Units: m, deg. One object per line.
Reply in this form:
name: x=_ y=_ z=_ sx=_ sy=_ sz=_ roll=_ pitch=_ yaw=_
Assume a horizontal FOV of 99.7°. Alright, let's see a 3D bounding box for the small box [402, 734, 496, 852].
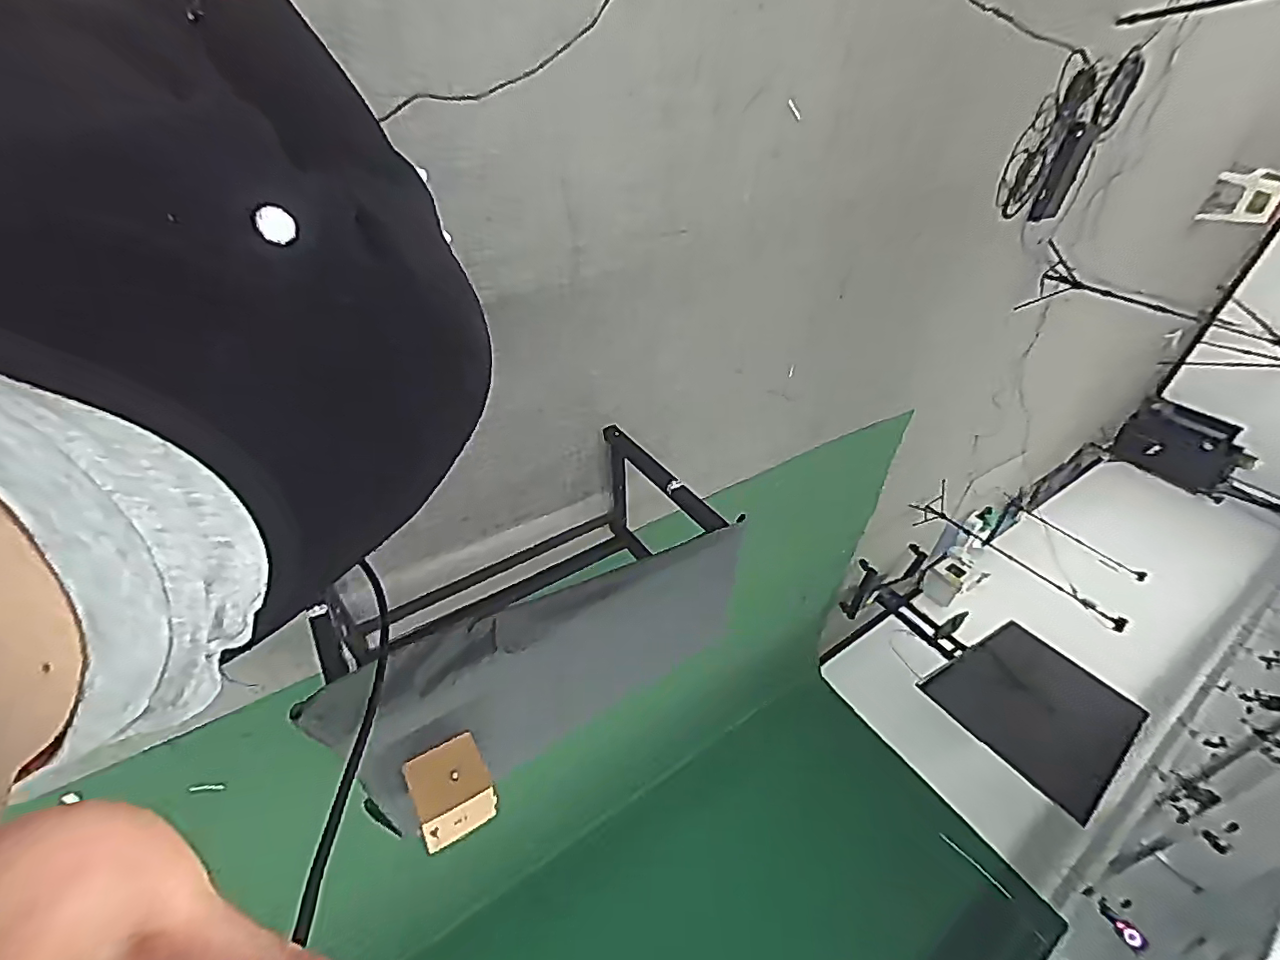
small box: x=-0.491 y=0.798 z=1.395 sx=0.179 sy=0.176 sz=0.168 roll=-18 pitch=133 yaw=-31
